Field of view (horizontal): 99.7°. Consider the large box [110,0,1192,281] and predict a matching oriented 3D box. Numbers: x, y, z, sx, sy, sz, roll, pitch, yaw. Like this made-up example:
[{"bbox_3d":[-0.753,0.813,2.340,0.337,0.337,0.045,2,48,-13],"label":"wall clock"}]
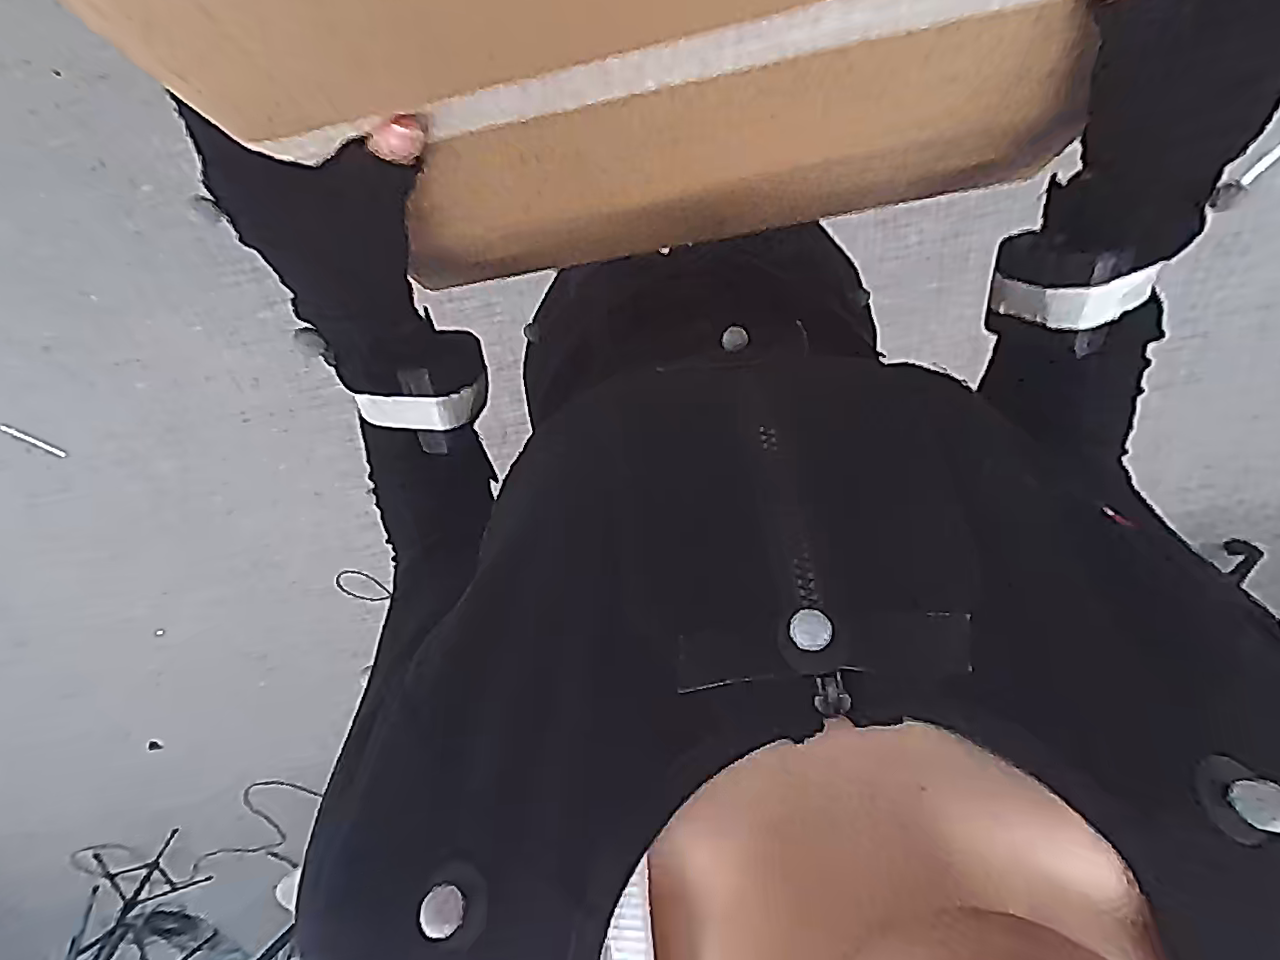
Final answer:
[{"bbox_3d":[0.010,-0.325,0.223,0.408,0.320,0.320,-9,88,5],"label":"large box"}]
